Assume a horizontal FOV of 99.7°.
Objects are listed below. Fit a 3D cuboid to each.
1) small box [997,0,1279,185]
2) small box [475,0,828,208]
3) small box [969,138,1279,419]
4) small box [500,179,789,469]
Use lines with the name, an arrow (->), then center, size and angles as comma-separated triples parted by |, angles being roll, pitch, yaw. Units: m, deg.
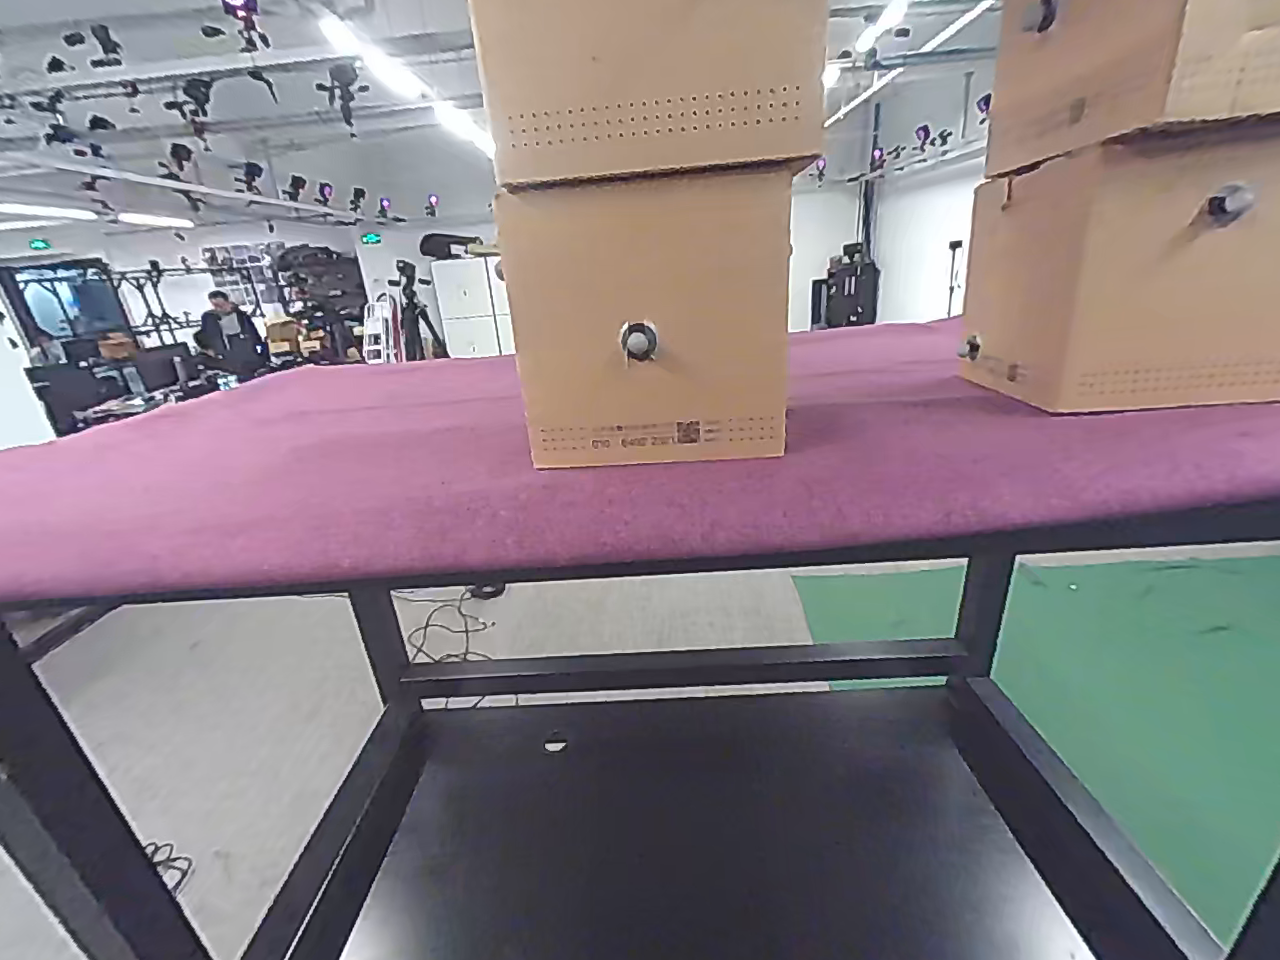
small box -> 0.357, -0.292, 0.341 | 0.179, 0.176, 0.168 | -4, 20, 4
small box -> 0.011, -0.257, 0.331 | 0.179, 0.176, 0.168 | -3, 21, 5
small box -> 0.374, -0.145, 0.410 | 0.179, 0.176, 0.168 | -2, 20, 8
small box -> 0.013, -0.110, 0.402 | 0.168, 0.176, 0.179 | -2, 22, 5
